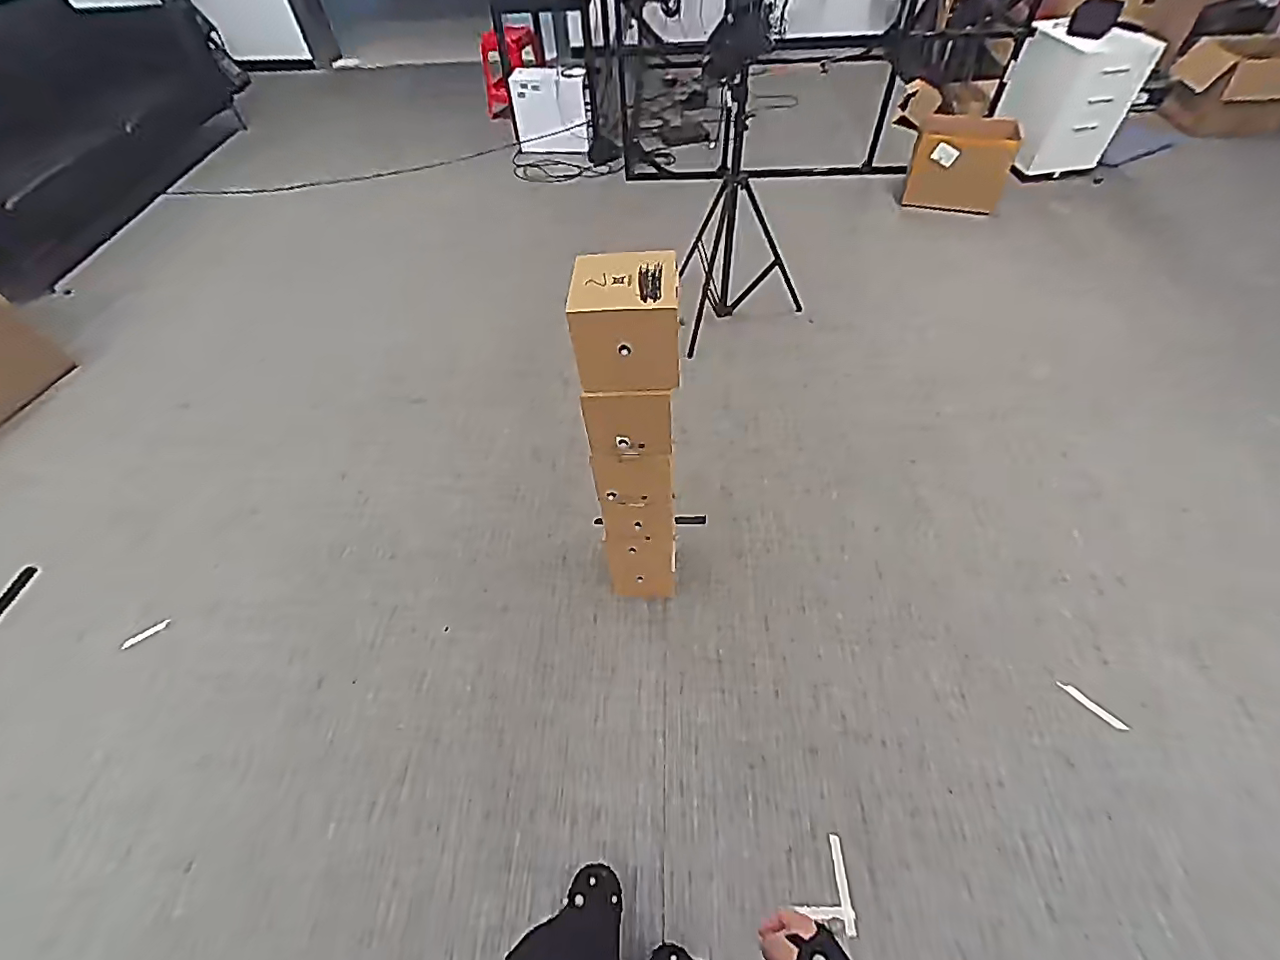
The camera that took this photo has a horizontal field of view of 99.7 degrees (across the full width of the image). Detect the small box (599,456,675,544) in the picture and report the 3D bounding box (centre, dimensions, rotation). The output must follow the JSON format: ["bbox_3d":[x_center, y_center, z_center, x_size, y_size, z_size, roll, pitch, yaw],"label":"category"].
[{"bbox_3d":[-0.001,0.043,1.318,0.168,0.176,0.179,1,53,5],"label":"small box"}]

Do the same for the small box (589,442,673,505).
[{"bbox_3d":[-0.012,-0.059,1.189,0.168,0.176,0.179,0,52,4],"label":"small box"}]

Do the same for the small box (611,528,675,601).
[{"bbox_3d":[0.013,0.243,1.576,0.179,0.176,0.168,0,52,4],"label":"small box"}]

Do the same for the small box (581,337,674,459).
[{"bbox_3d":[-0.018,-0.159,1.062,0.168,0.176,0.179,-2,53,4],"label":"small box"}]

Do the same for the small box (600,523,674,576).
[{"bbox_3d":[-0.002,0.145,1.445,0.179,0.176,0.168,2,53,5],"label":"small box"}]
